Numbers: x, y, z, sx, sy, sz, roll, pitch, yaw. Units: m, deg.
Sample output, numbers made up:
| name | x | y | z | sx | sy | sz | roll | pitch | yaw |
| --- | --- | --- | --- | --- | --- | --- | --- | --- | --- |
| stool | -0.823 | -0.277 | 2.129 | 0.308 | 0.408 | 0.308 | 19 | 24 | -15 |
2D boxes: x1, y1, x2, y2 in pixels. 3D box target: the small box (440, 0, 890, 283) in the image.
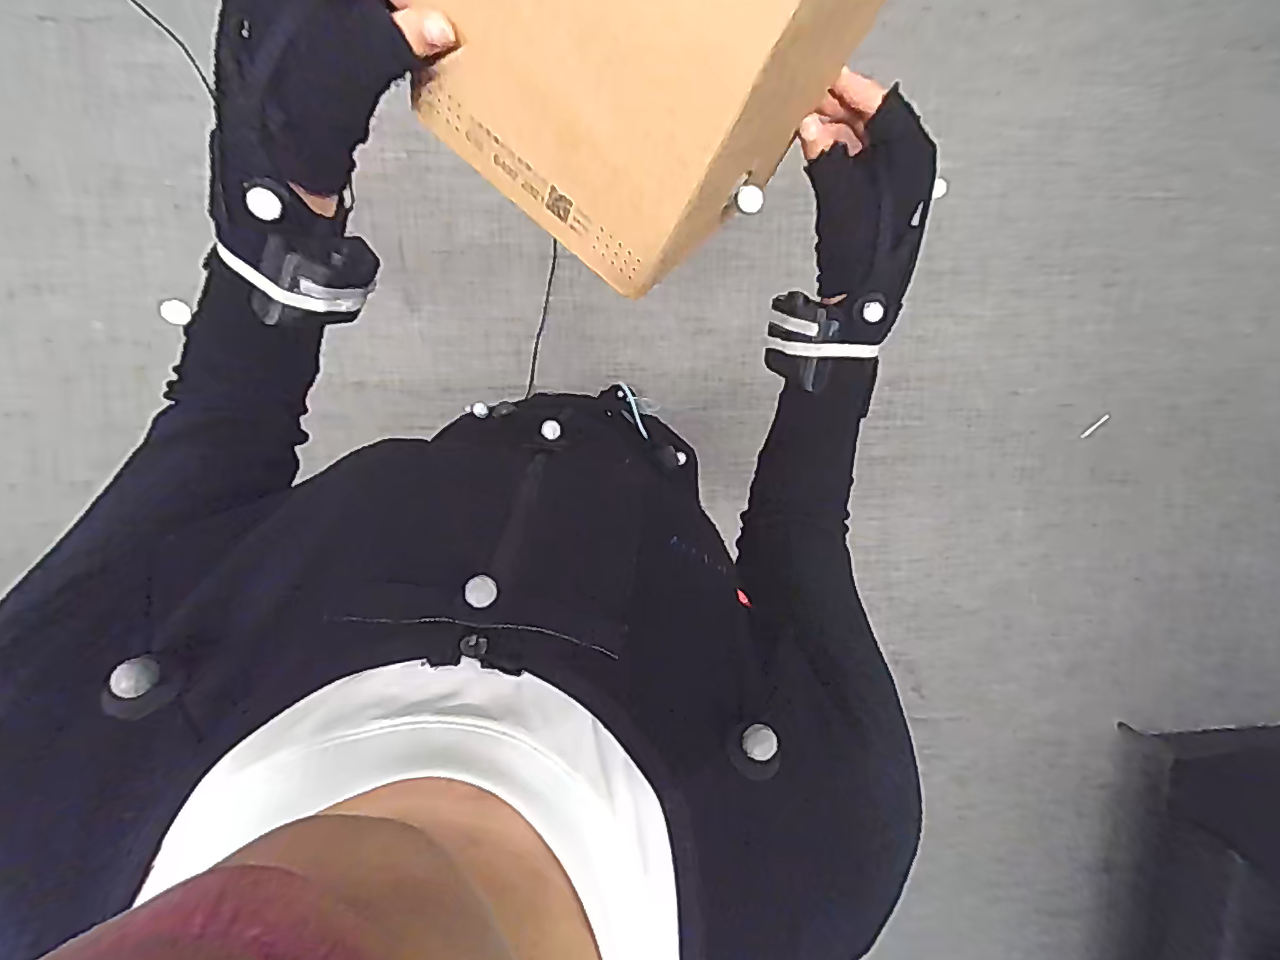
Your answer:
| name | x | y | z | sx | sy | sz | roll | pitch | yaw |
| --- | --- | --- | --- | --- | --- | --- | --- | --- | --- |
| small box | 0.014 | -0.246 | 0.285 | 0.168 | 0.176 | 0.179 | 41 | 58 | -2 |
